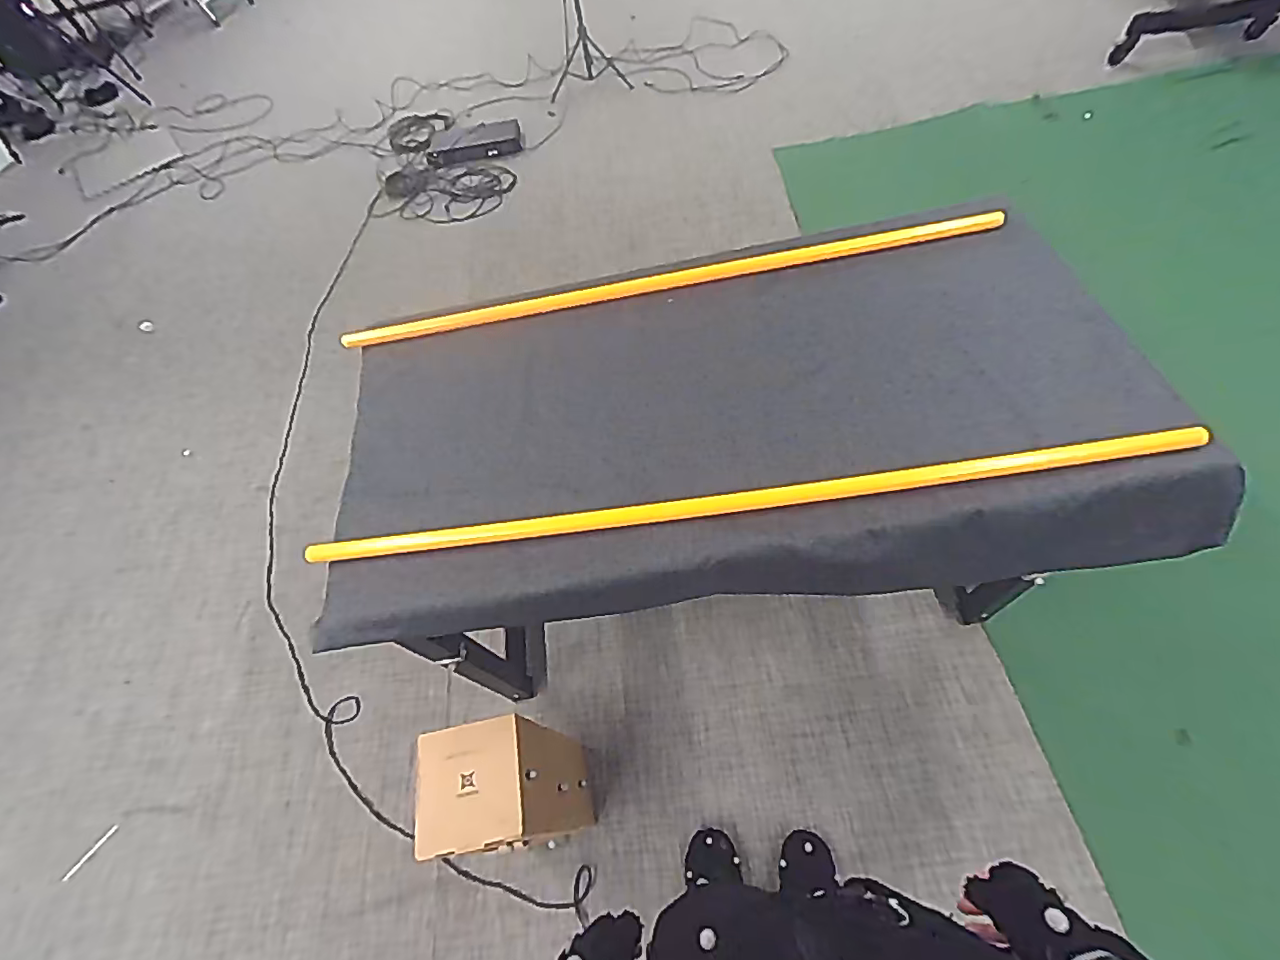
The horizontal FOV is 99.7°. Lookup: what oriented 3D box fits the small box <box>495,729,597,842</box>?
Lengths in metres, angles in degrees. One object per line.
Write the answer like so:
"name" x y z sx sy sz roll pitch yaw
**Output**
"small box" -0.203 0.667 1.183 0.168 0.176 0.179 -17 59 -1
